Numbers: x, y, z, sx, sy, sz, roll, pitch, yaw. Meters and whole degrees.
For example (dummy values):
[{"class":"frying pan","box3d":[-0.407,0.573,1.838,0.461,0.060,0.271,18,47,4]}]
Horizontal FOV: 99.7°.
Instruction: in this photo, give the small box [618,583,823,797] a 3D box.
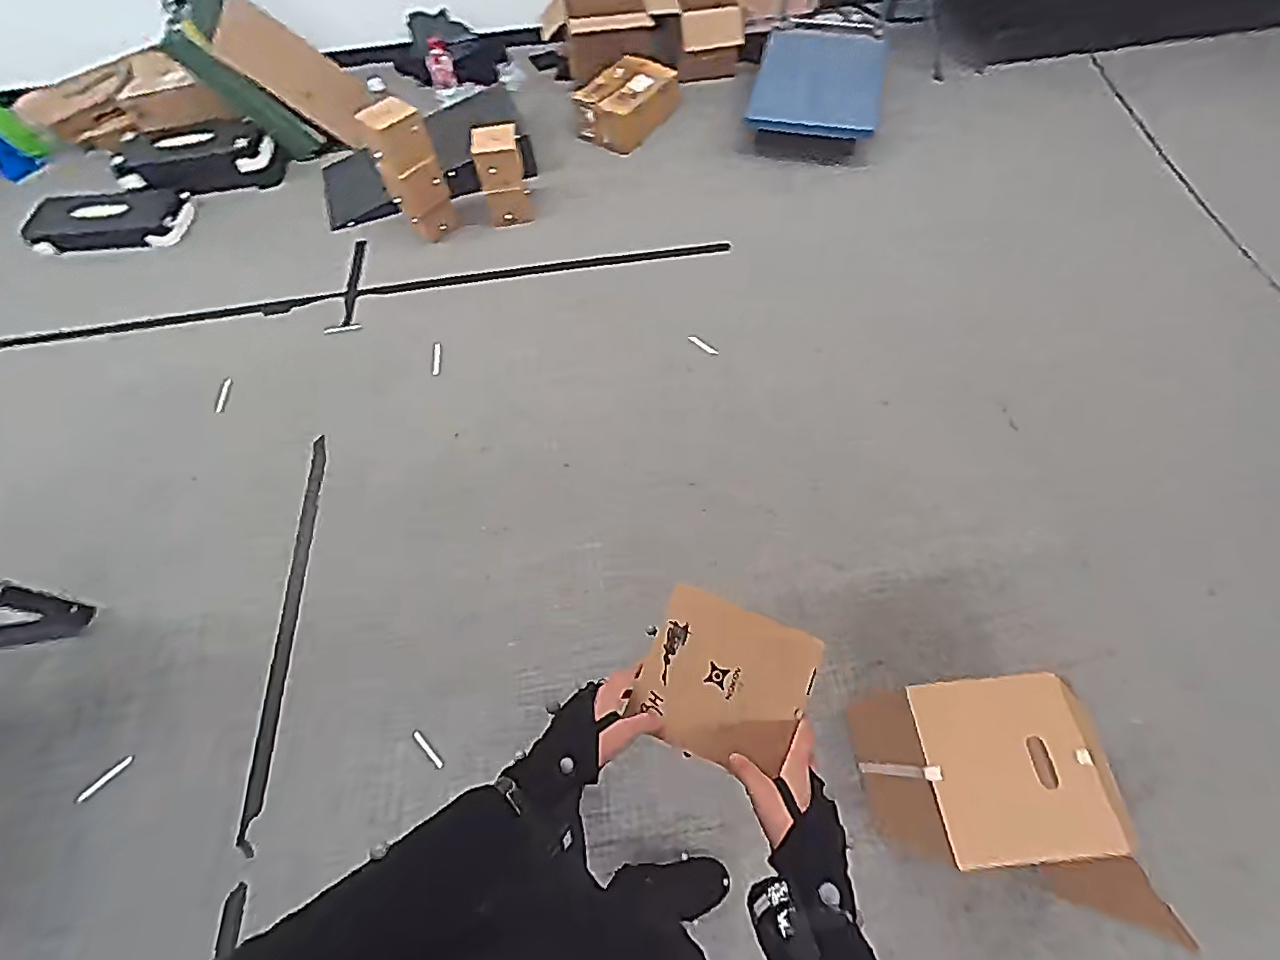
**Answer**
[{"class":"small box","box3d":[0.092,0.242,0.653,0.179,0.176,0.168,22,74,10]}]
